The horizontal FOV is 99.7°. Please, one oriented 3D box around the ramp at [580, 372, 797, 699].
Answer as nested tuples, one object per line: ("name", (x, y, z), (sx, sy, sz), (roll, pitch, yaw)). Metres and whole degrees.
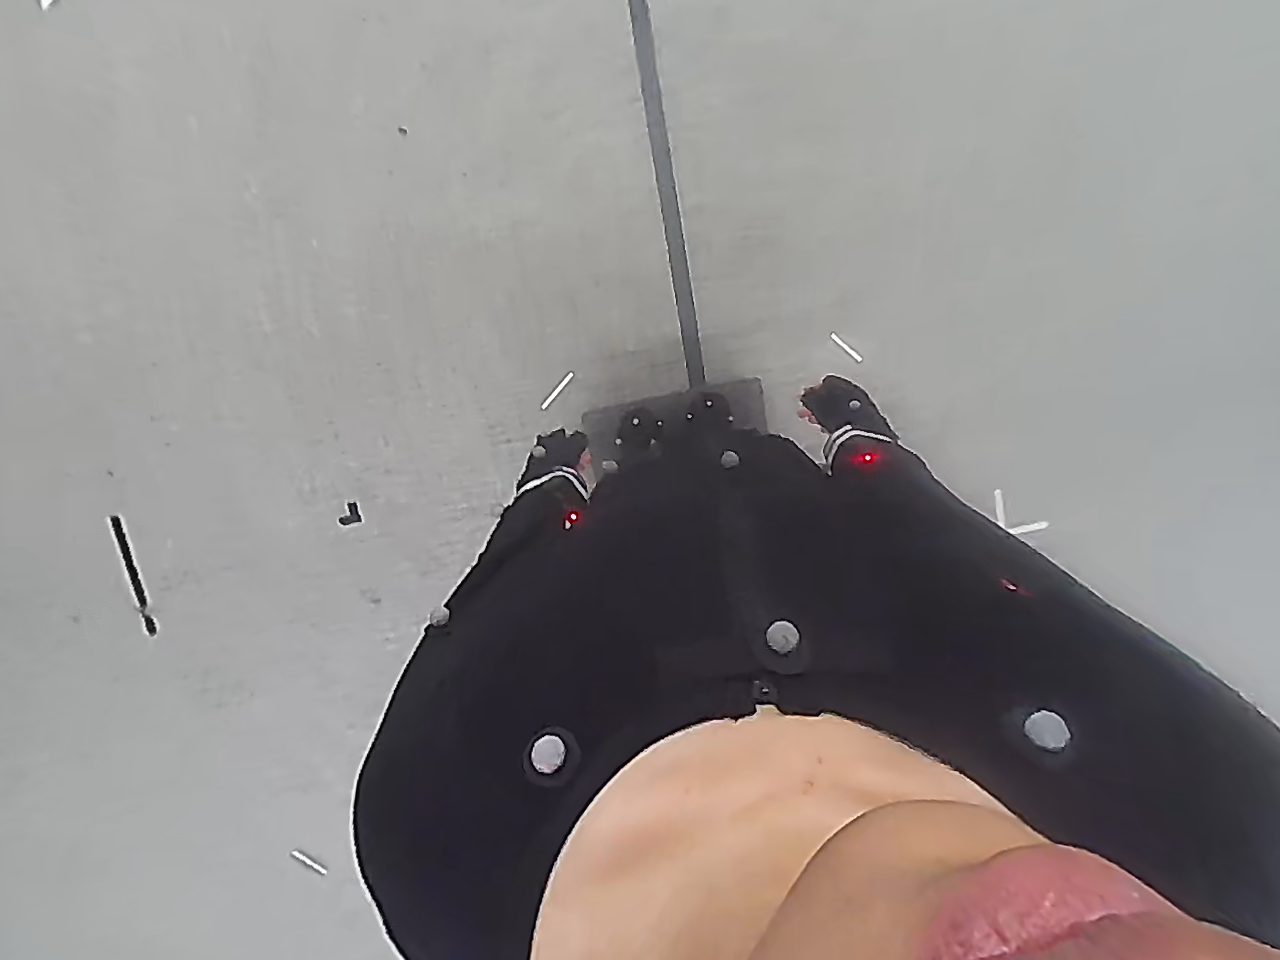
("ramp", (0.178, 0.215, 1.602), (0.509, 0.206, 0.991), (-14, 100, 1))
